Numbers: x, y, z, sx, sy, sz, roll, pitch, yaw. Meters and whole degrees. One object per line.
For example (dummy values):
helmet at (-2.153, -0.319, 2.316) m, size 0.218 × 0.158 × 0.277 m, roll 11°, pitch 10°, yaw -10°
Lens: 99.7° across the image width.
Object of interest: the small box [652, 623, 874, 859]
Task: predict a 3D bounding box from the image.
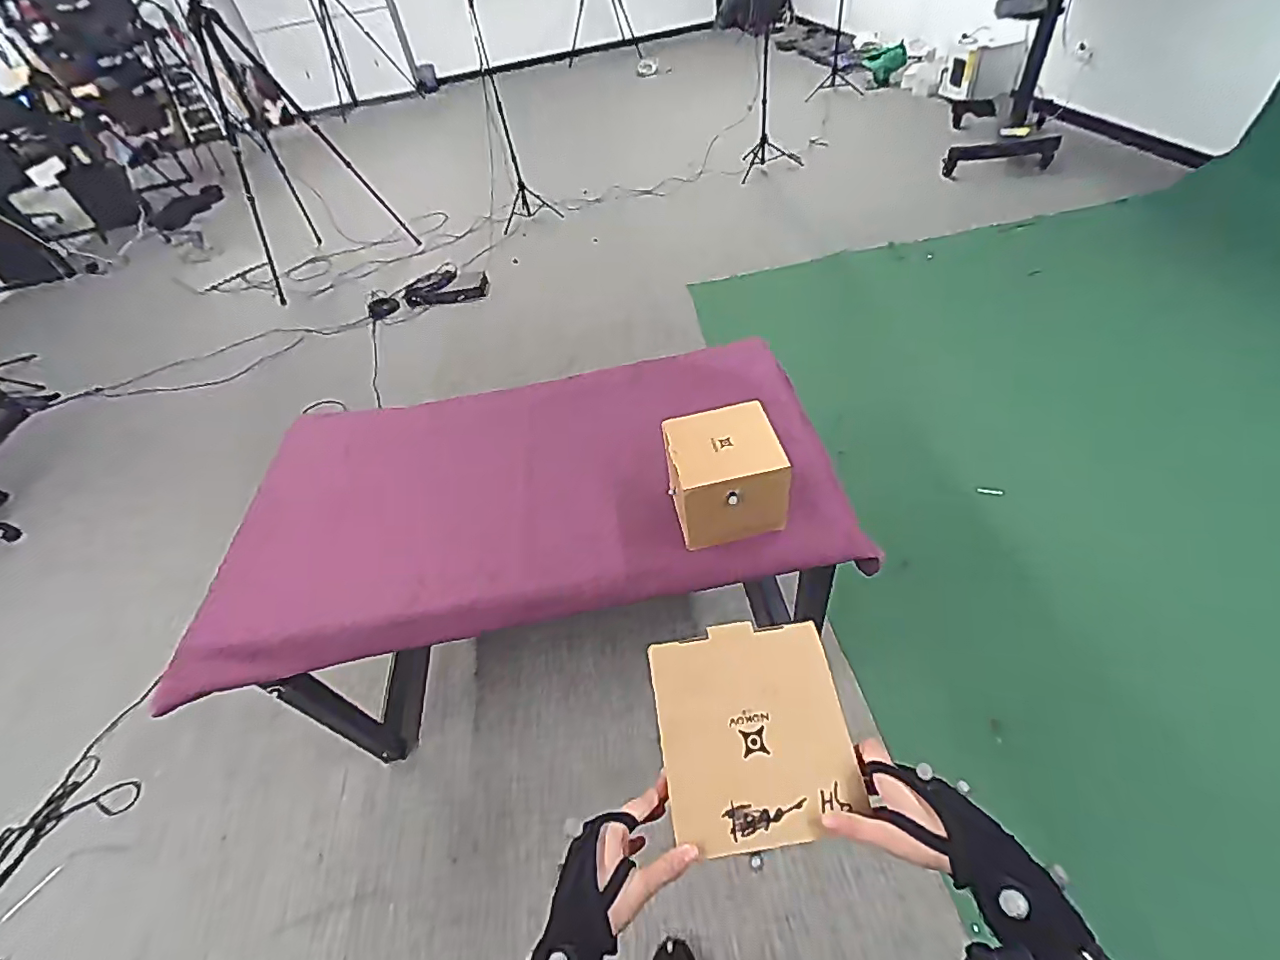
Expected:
small box at (0.106, 0.264, 0.551) m, size 0.168 × 0.176 × 0.179 m, roll -9°, pitch 60°, yaw 0°

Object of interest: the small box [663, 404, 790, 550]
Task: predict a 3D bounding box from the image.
small box at (0.148, -0.002, 0.947) m, size 0.179 × 0.176 × 0.168 m, roll -14°, pitch 48°, yaw 1°
